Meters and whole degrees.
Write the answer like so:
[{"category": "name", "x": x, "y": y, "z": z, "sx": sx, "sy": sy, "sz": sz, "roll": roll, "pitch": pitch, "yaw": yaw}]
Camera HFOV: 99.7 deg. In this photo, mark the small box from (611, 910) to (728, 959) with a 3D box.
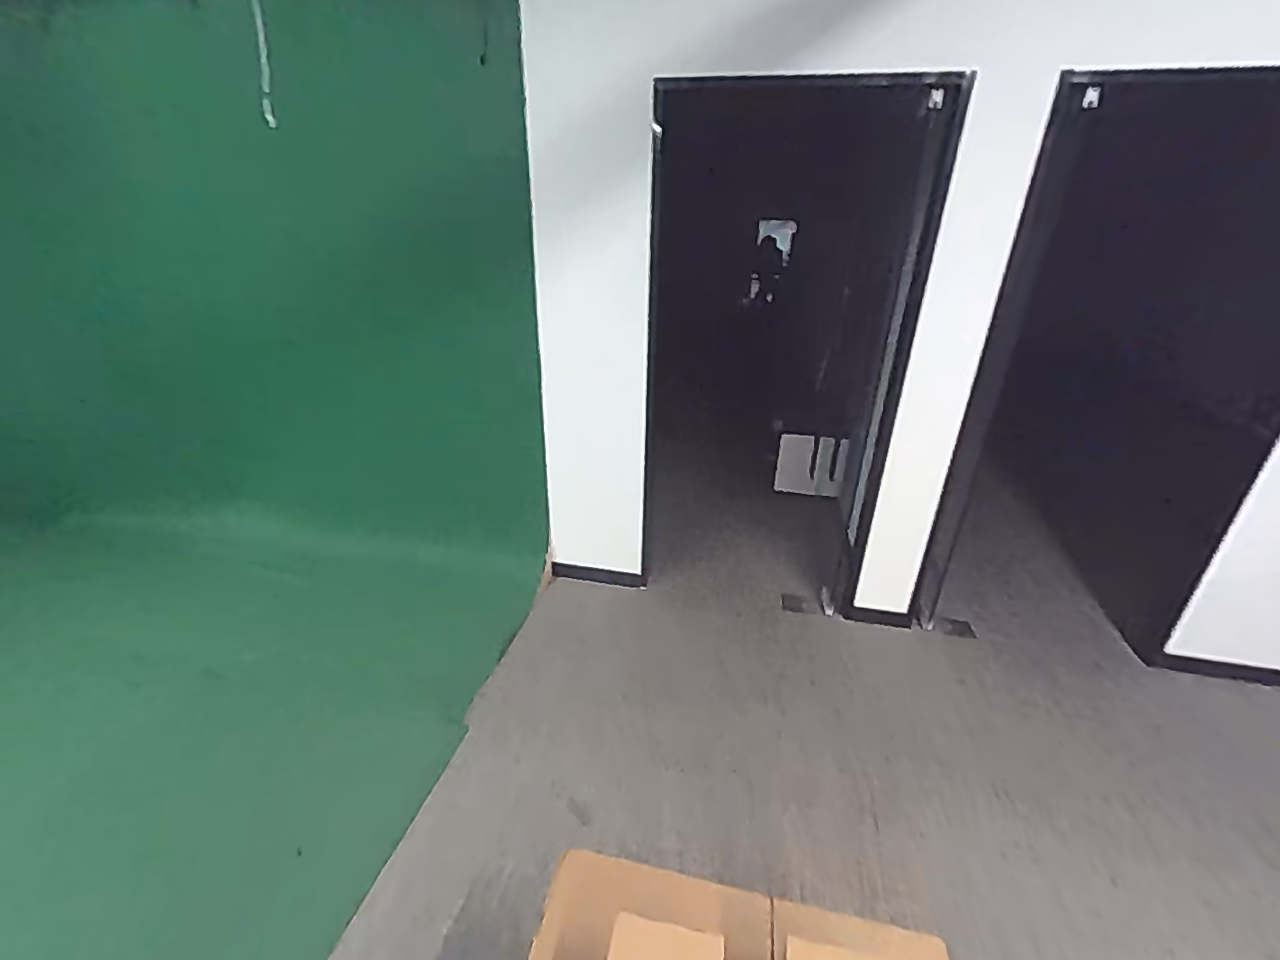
[{"category": "small box", "x": 0.032, "y": 0.772, "z": 0.767, "sx": 0.168, "sy": 0.176, "sz": 0.179, "roll": 4, "pitch": 23, "yaw": 11}]
